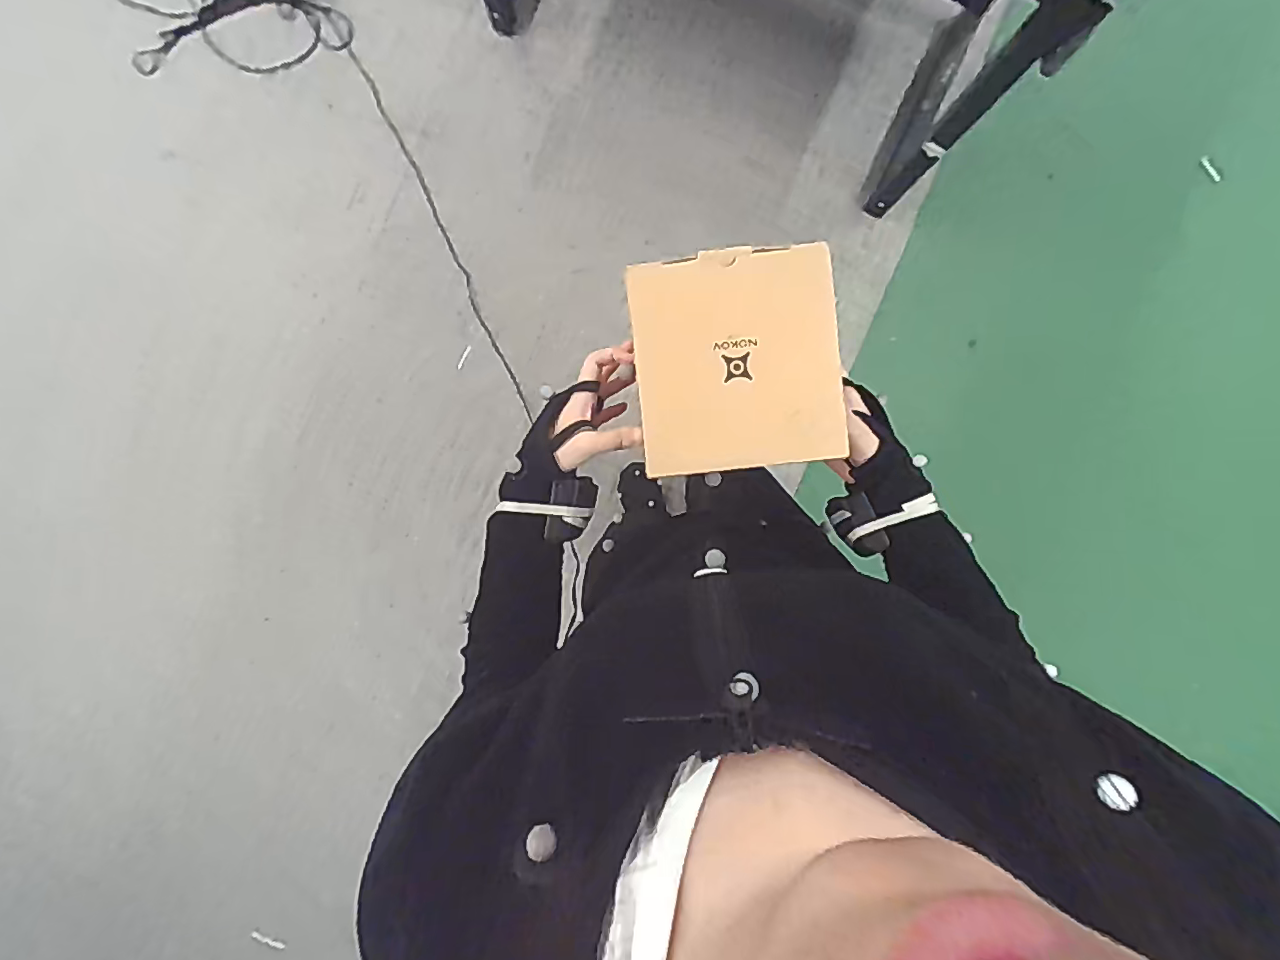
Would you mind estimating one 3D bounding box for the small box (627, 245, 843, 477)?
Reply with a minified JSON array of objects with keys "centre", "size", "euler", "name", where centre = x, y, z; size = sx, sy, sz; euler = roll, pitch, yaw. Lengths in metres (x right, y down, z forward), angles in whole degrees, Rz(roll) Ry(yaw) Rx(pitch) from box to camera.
[{"centre":[0.081,-0.098,0.519],"size":[0.168,0.176,0.179],"euler":[-6,90,3],"name":"small box"}]
